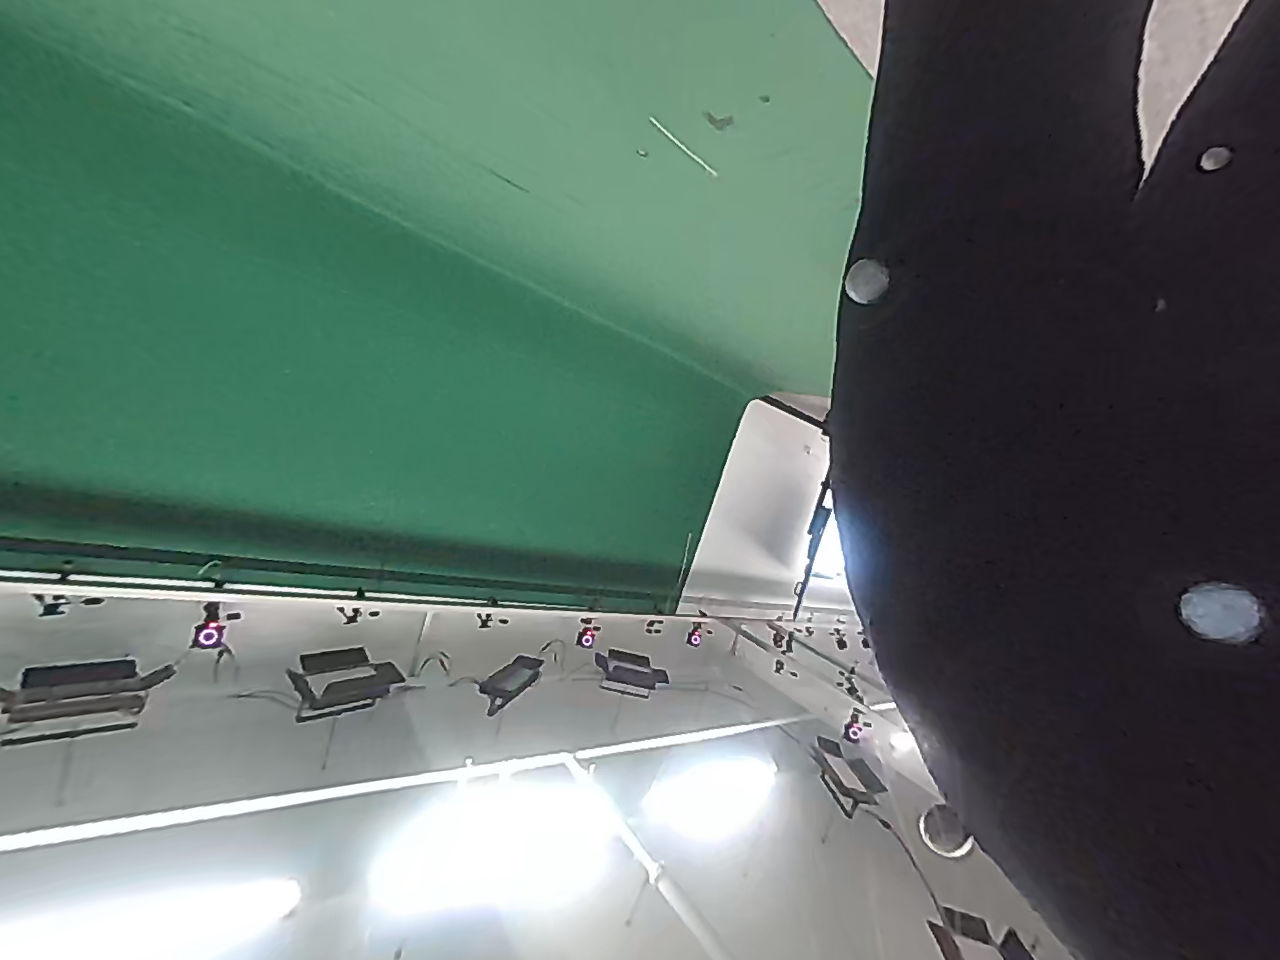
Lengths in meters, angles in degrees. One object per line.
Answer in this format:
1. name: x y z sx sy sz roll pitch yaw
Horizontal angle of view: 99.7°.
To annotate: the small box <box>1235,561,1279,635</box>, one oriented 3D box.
1. small box: 1.657 0.317 1.353 0.179 0.176 0.168 17 -177 -30
